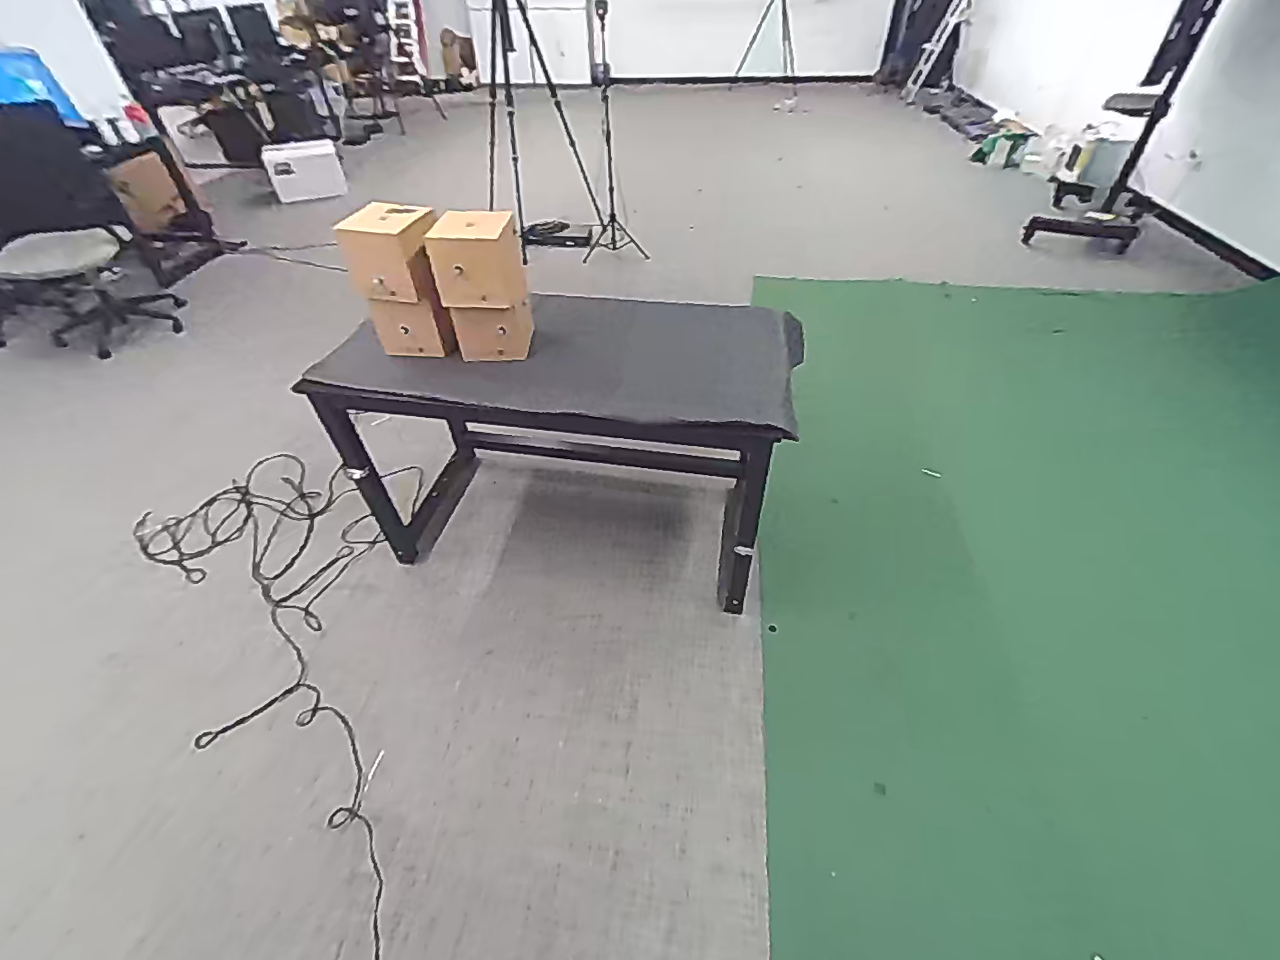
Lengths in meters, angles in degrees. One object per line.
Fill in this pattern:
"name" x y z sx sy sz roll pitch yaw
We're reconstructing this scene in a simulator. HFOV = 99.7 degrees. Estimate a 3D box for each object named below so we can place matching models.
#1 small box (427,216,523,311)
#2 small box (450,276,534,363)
"small box" -0.385 -0.520 1.301 0.168 0.176 0.179 2 43 1
"small box" -0.383 -0.423 1.433 0.168 0.176 0.179 0 43 0
